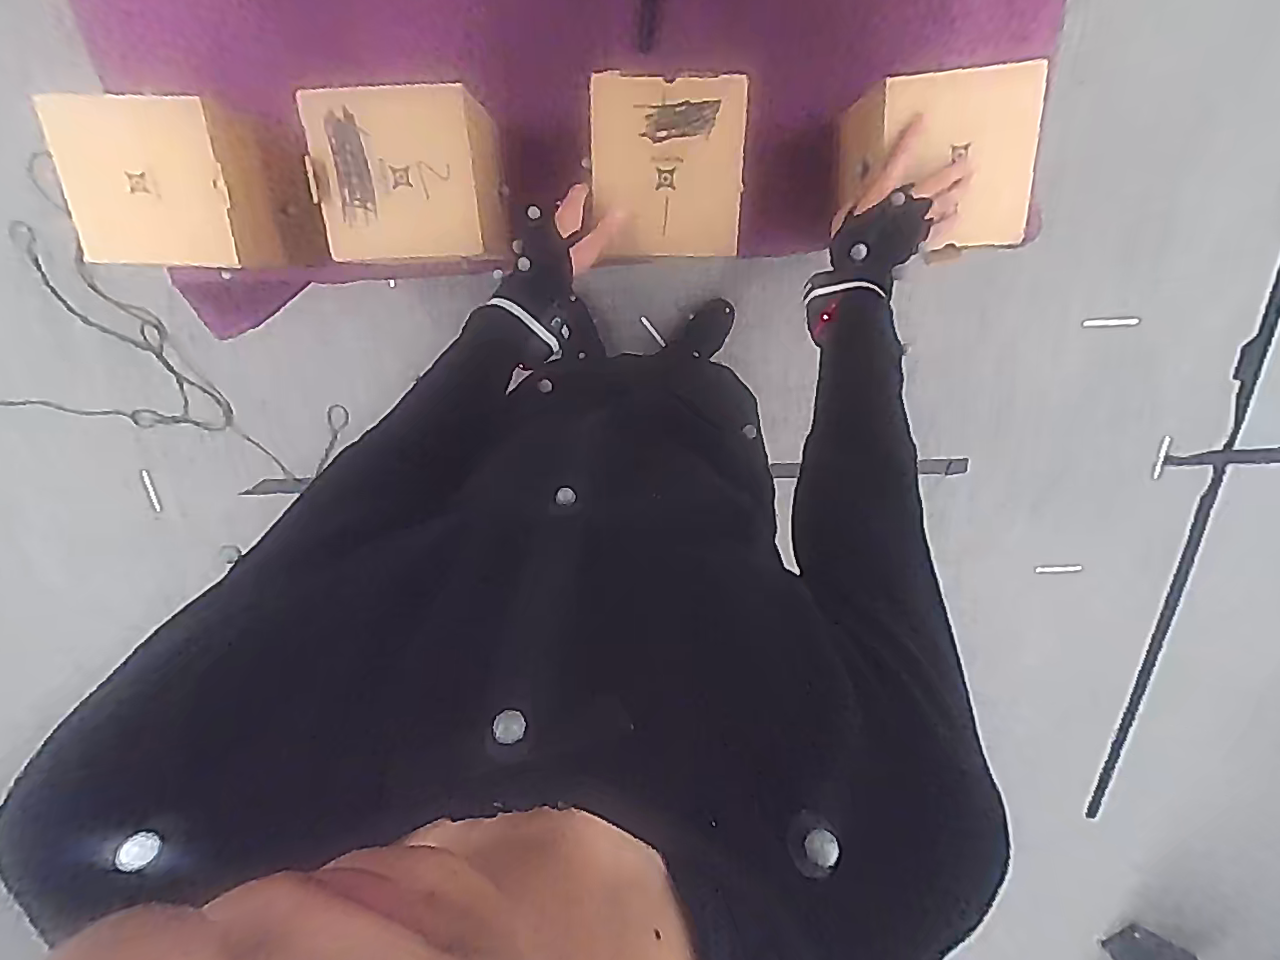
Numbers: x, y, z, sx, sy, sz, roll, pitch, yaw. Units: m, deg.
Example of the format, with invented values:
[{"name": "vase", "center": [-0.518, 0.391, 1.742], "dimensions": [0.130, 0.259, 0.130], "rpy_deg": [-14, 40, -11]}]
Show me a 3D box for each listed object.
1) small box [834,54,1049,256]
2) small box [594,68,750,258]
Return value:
[{"name": "small box", "center": [0.344, -0.375, 0.656], "dimensions": [0.168, 0.176, 0.179], "rpy_deg": [-5, 112, 3]}, {"name": "small box", "center": [0.031, -0.368, 0.659], "dimensions": [0.168, 0.176, 0.179], "rpy_deg": [0, 112, 0]}]
